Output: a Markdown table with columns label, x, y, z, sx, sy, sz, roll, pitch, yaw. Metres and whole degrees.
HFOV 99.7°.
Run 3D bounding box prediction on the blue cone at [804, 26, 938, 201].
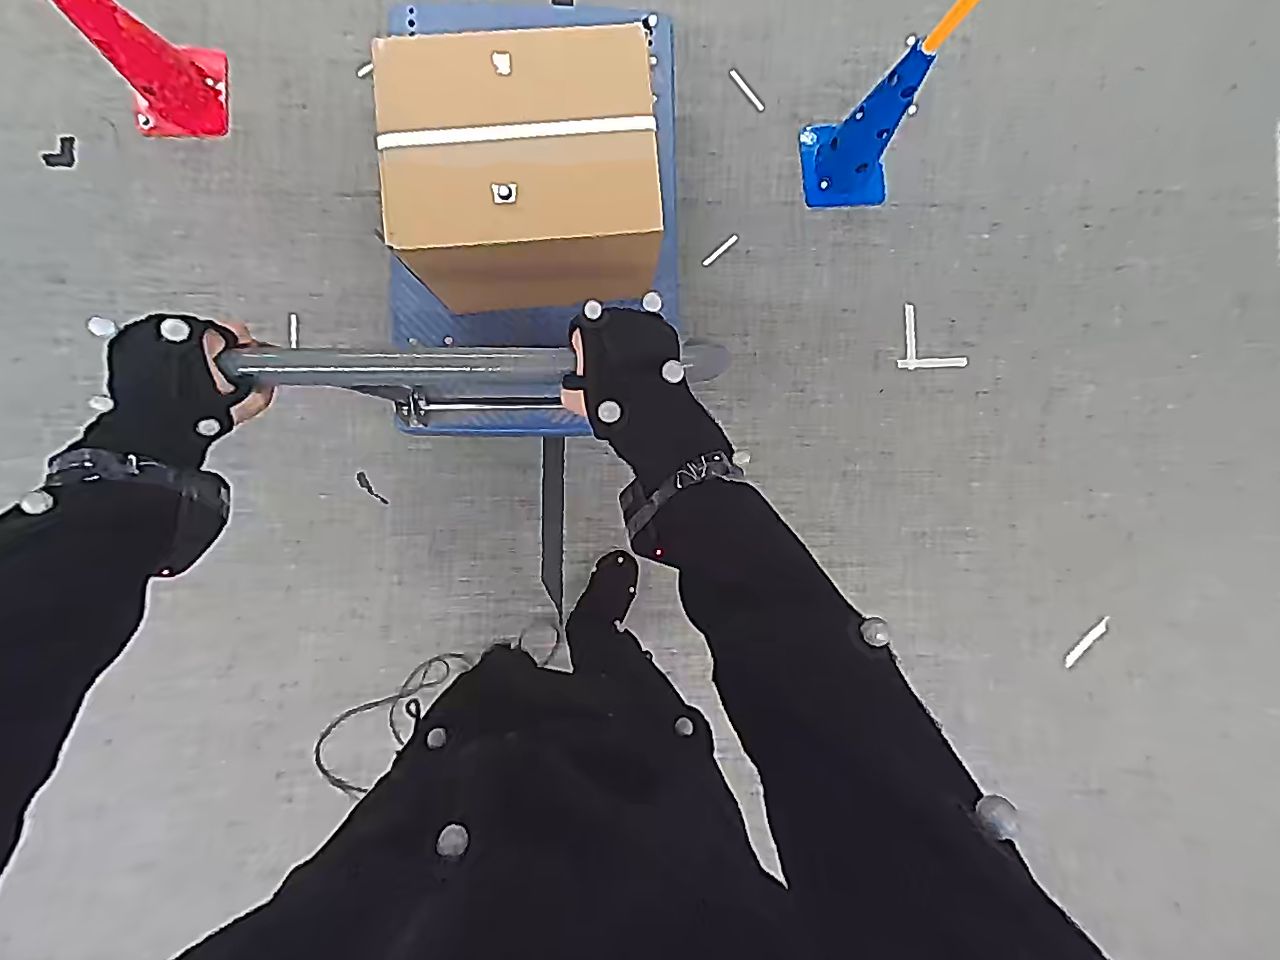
| label | x | y | z | sx | sy | sz | roll | pitch | yaw |
| --- | --- | --- | --- | --- | --- | --- | --- | --- | --- |
| blue cone | 0.503 | -0.772 | 1.140 | 0.193 | 0.380 | 0.192 | -4 | 89 | -3 |
